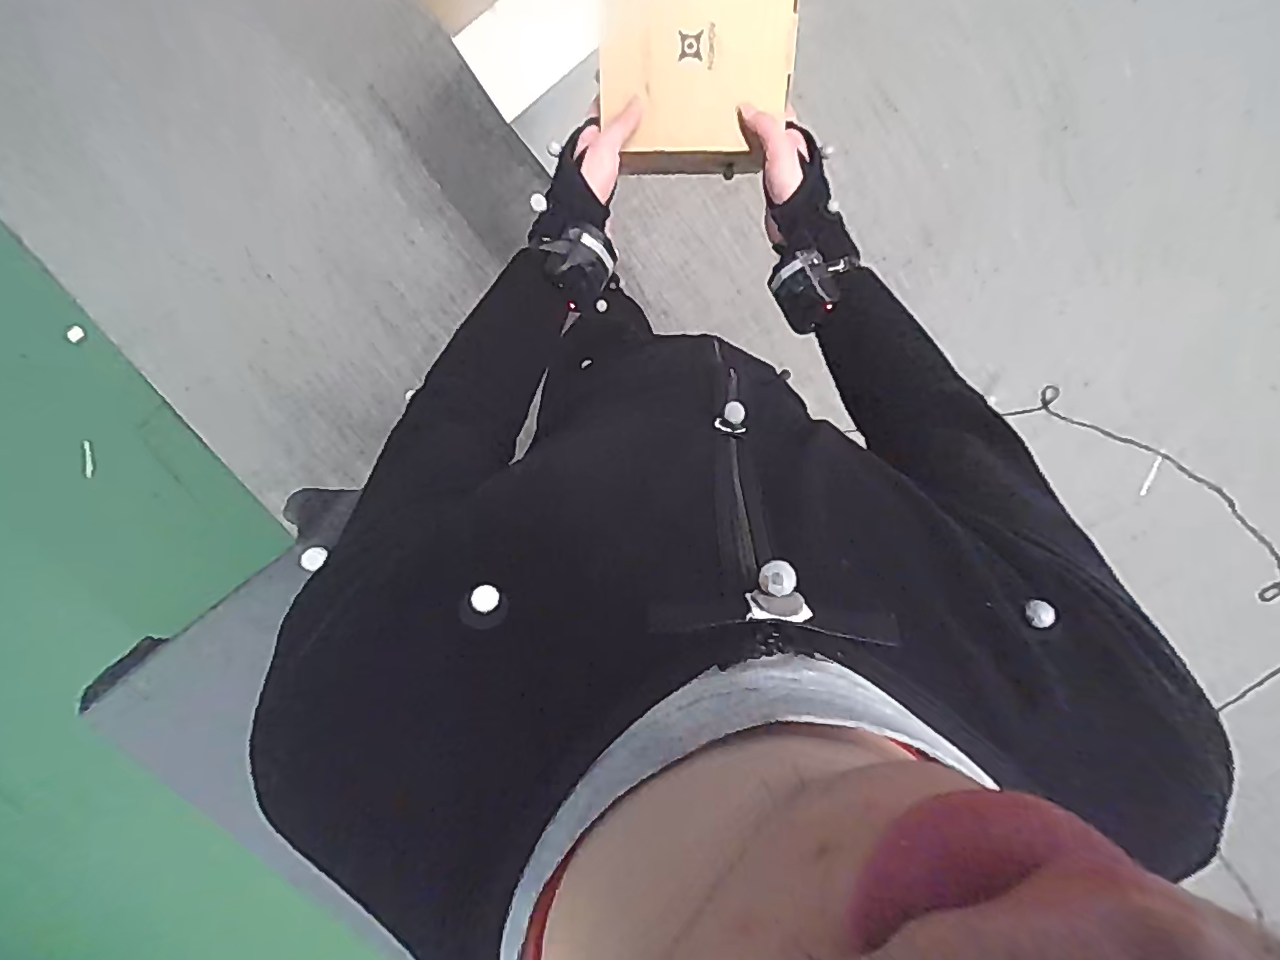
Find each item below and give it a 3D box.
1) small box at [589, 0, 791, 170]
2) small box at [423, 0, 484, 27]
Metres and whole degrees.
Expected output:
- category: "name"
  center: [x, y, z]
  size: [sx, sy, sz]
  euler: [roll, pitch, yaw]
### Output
- category: "small box"
  center: [0.047, -0.419, 0.545]
  size: [0.179, 0.176, 0.168]
  euler: [0, 112, 4]
- category: "small box"
  center: [-0.246, -0.718, 0.654]
  size: [0.179, 0.176, 0.168]
  euler: [-33, 104, 9]
